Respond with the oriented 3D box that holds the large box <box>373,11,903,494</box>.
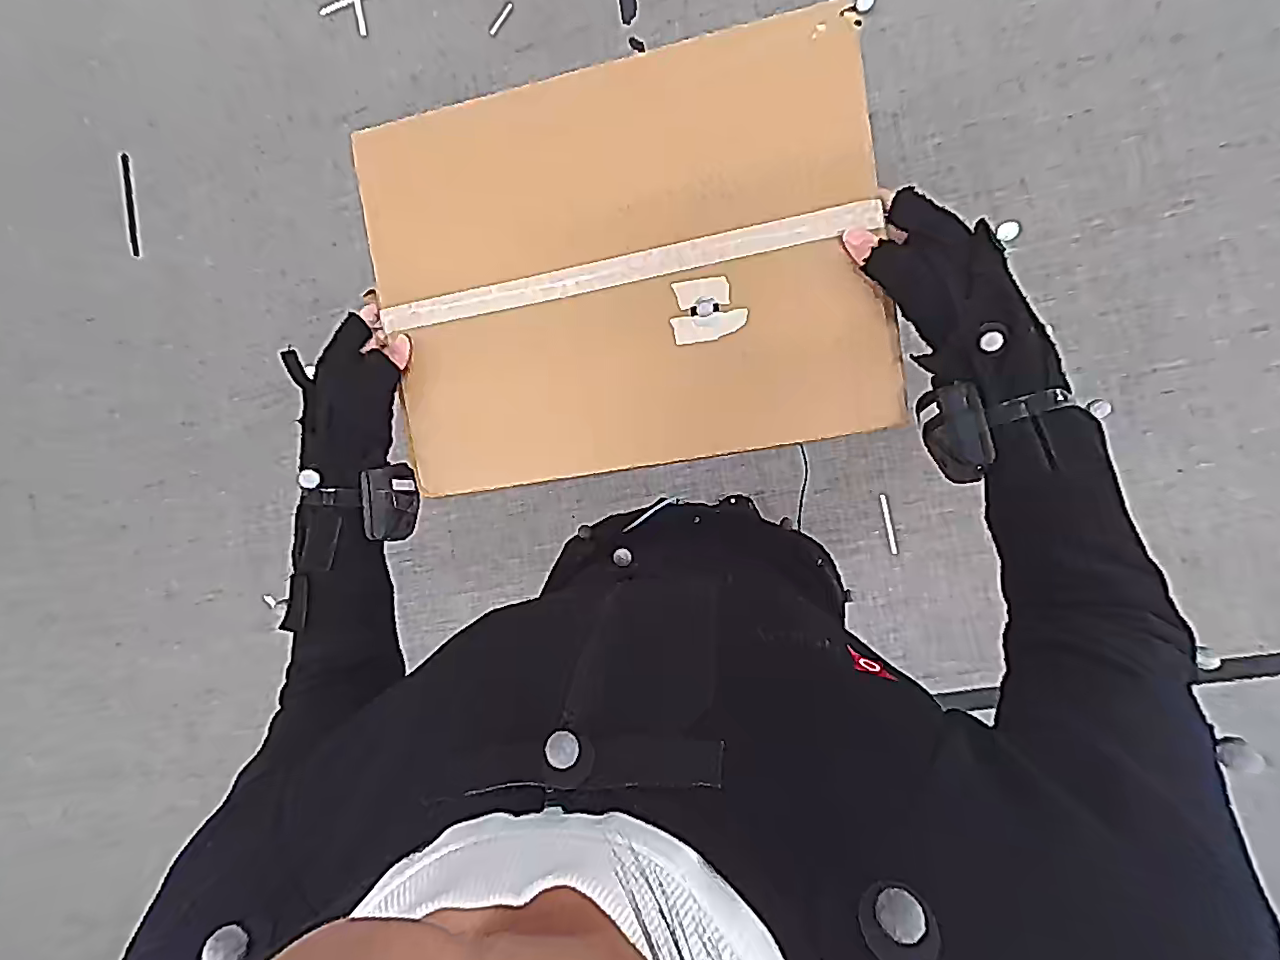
[{"bbox_3d":[0.007,-0.181,0.589,0.408,0.320,0.320,-9,94,9],"label":"large box"}]
